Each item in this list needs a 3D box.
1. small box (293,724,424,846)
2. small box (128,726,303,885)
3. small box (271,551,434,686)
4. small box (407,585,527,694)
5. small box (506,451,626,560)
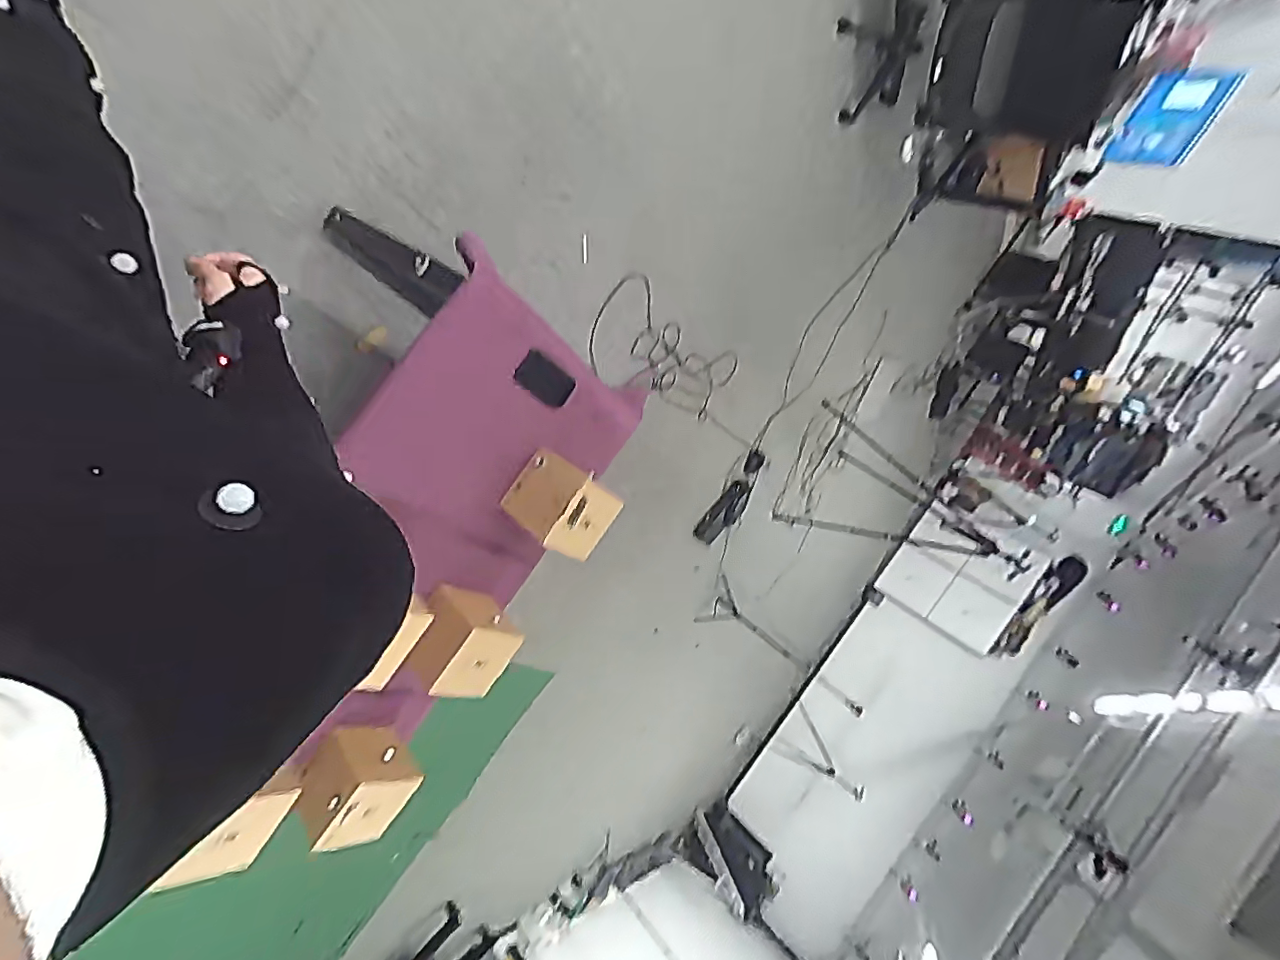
[{"bbox_3d":[-0.635,0.673,1.217,0.168,0.176,0.179,-53,146,-3],"label":"small box"},{"bbox_3d":[-0.760,0.565,0.970,0.168,0.176,0.179,-55,145,-2],"label":"small box"},{"bbox_3d":[-0.525,0.252,0.990,0.168,0.176,0.179,-53,146,-1],"label":"small box"},{"bbox_3d":[-0.401,0.361,1.232,0.168,0.176,0.179,-53,145,-2],"label":"small box"},{"bbox_3d":[-0.170,0.054,1.238,0.168,0.176,0.179,-54,146,-1],"label":"small box"}]
